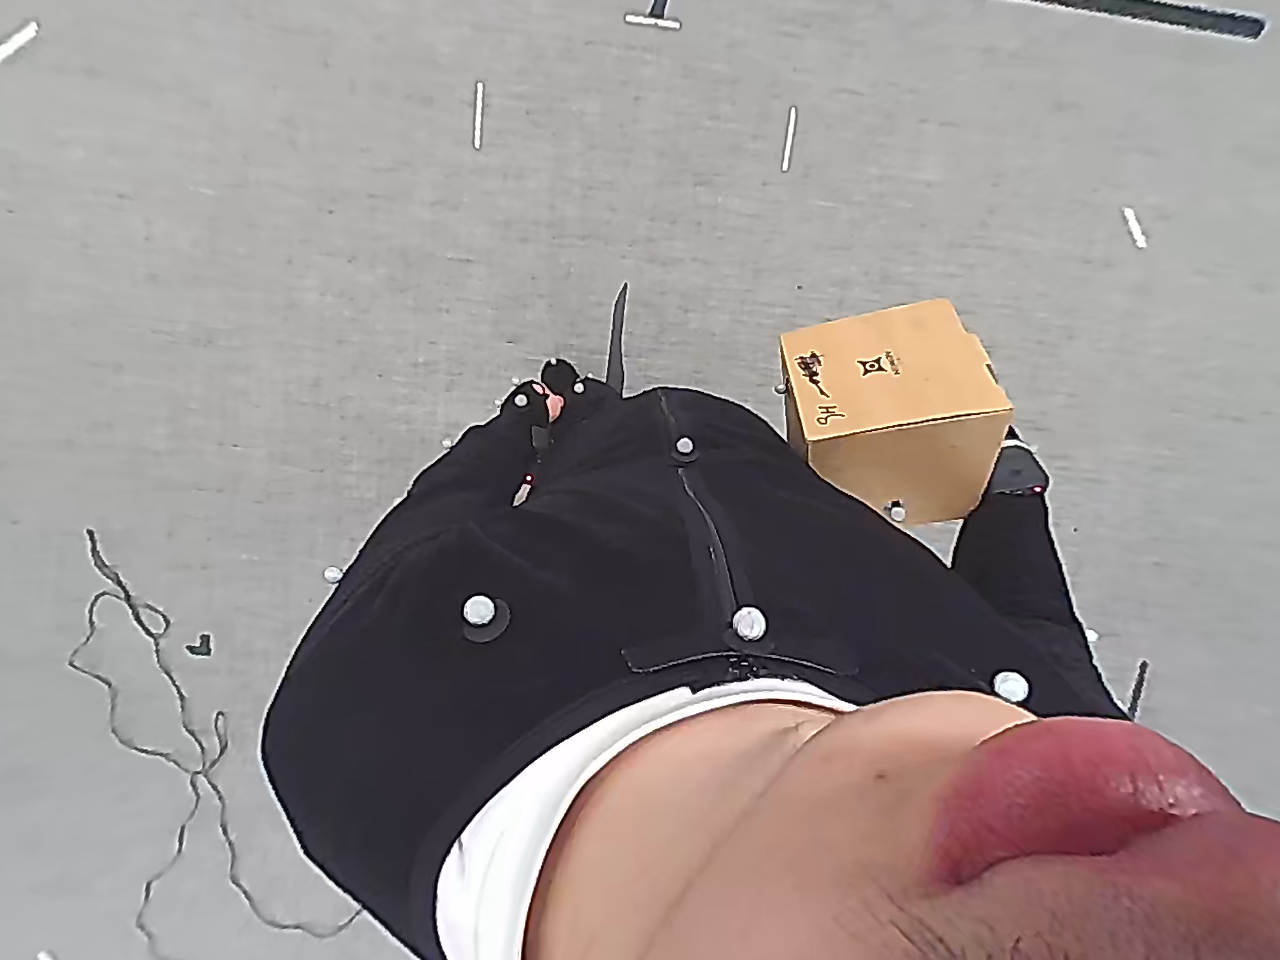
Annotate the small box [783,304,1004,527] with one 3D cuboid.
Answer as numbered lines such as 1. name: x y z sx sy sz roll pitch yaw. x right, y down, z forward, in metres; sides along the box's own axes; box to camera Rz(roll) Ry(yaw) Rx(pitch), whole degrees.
1. small box: 0.262 -0.065 0.609 0.179 0.168 0.176 -9 139 11
